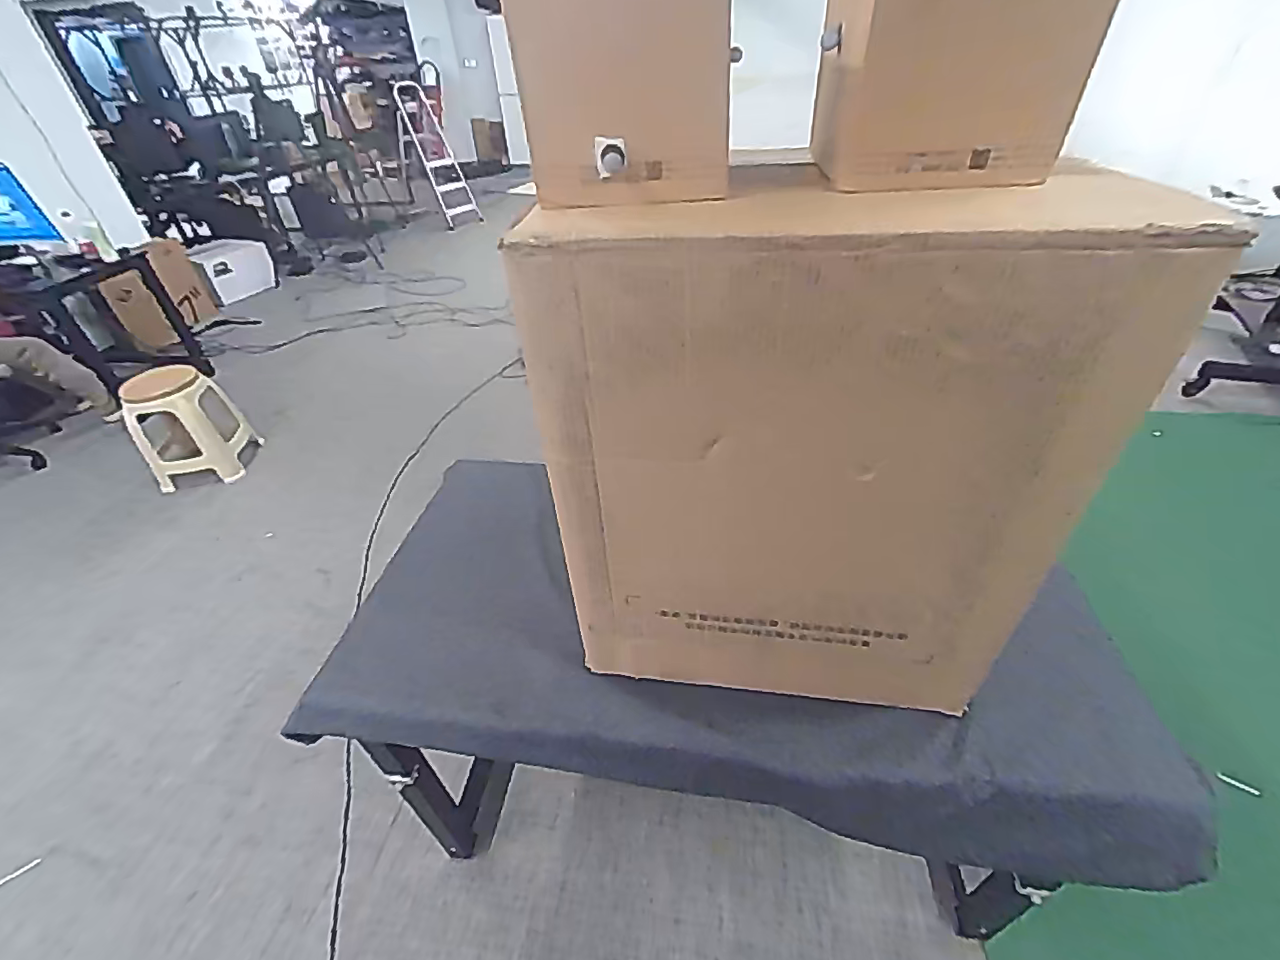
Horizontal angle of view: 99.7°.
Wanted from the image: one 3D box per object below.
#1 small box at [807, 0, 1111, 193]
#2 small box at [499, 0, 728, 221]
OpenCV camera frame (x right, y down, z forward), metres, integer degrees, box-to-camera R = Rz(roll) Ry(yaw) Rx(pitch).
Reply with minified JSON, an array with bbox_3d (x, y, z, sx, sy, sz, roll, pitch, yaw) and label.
[{"bbox_3d":[0.245,-0.353,0.456,0.168,0.176,0.179,-1,40,6],"label":"small box"},{"bbox_3d":[-0.009,-0.345,0.479,0.168,0.176,0.179,-2,42,8],"label":"small box"}]
